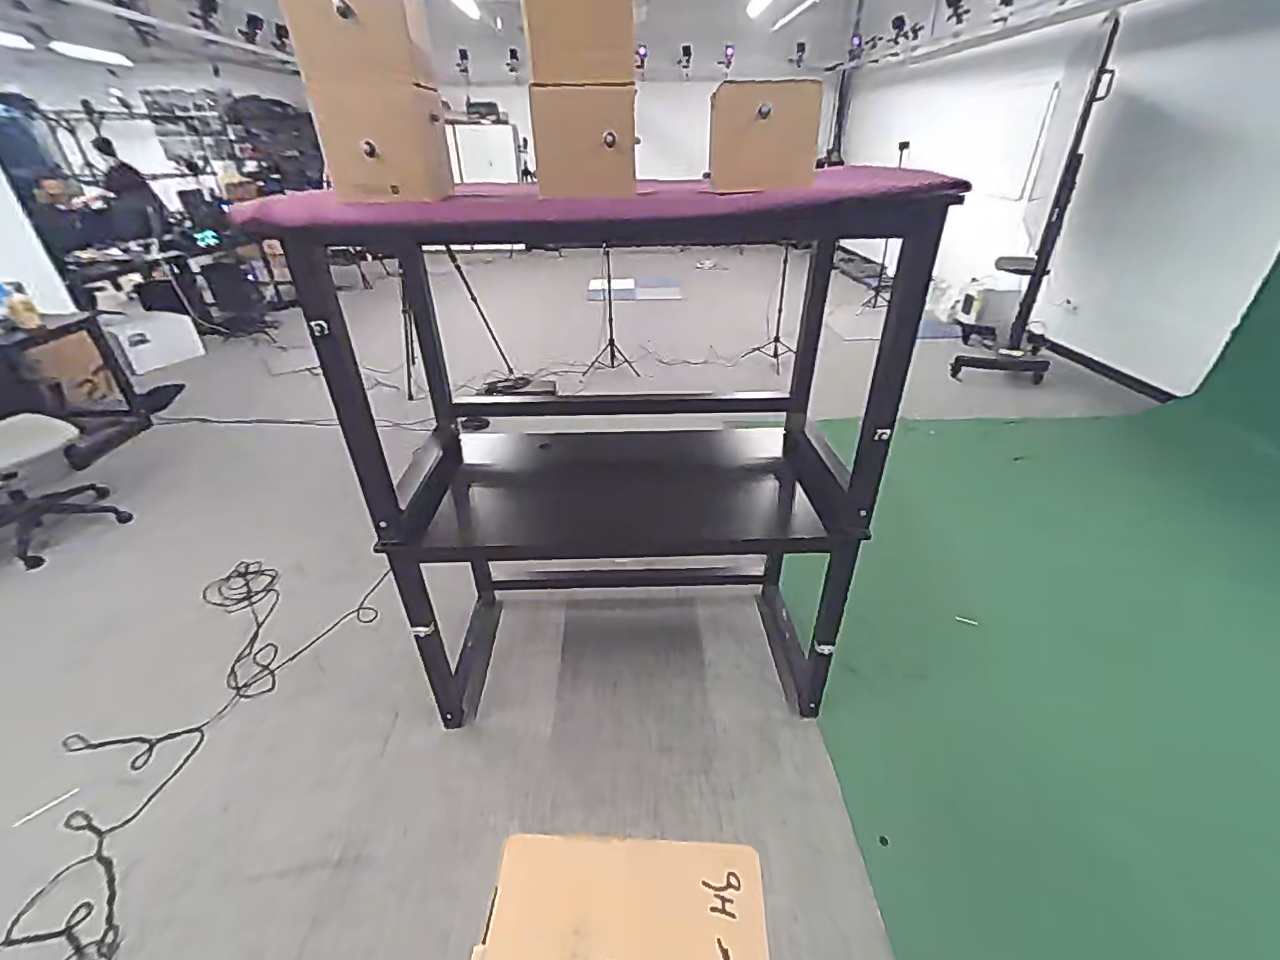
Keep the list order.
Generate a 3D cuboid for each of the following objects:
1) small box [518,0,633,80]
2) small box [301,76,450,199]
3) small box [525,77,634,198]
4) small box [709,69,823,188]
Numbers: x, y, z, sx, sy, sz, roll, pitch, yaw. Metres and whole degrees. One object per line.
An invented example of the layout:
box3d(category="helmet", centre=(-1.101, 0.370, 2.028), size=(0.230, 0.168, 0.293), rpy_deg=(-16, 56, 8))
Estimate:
box3d(category="small box", centre=(-0.106, -0.752, 0.890), size=(0.179, 0.176, 0.168), rpy_deg=(-3, 32, -4))
box3d(category="small box", centre=(-0.440, -0.589, 0.937), size=(0.168, 0.176, 0.179), rpy_deg=(-2, 33, -4))
box3d(category="small box", centre=(-0.100, -0.612, 0.973), size=(0.179, 0.176, 0.168), rpy_deg=(-3, 32, -2))
box3d(category="small box", centre=(0.221, -0.639, 0.999), size=(0.179, 0.176, 0.168), rpy_deg=(-1, 30, 0))
